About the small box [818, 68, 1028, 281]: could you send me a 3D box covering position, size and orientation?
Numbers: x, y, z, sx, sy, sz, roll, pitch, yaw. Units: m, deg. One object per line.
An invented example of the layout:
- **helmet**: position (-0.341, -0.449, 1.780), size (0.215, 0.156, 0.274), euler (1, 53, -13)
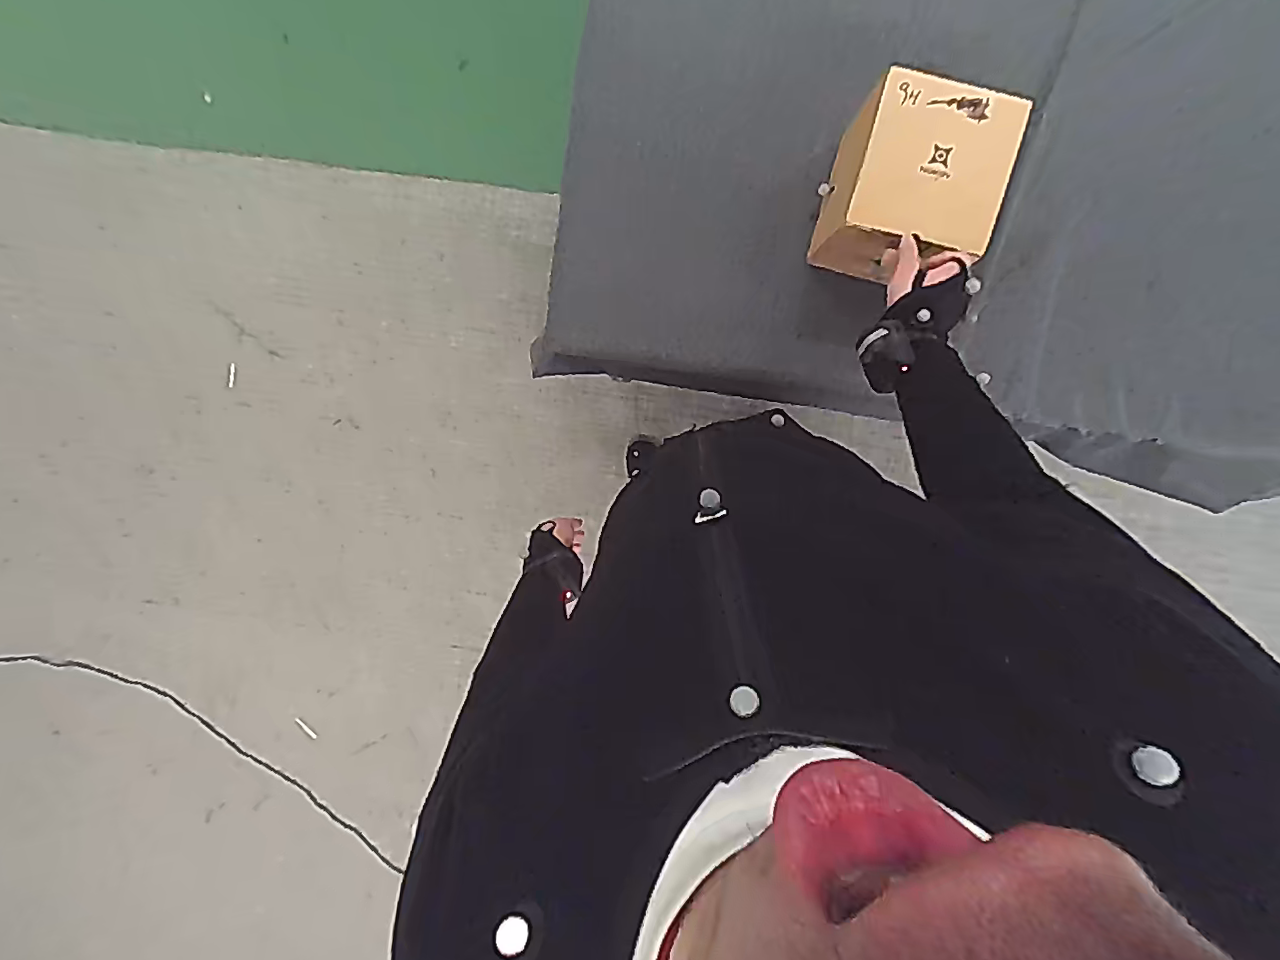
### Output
- **small box**: position (0.341, -0.372, 0.693), size (0.168, 0.176, 0.179), euler (12, 96, 2)
